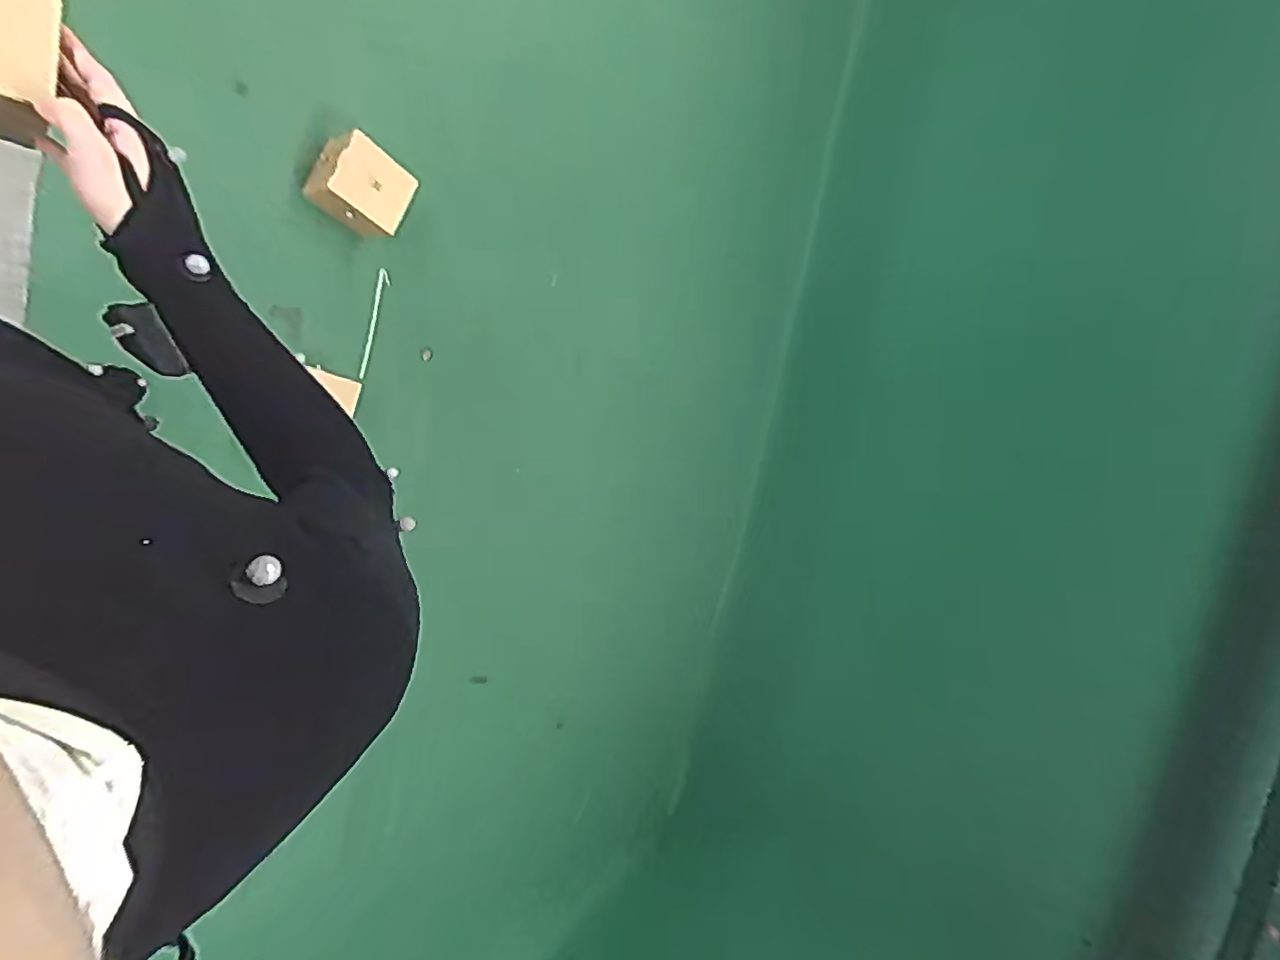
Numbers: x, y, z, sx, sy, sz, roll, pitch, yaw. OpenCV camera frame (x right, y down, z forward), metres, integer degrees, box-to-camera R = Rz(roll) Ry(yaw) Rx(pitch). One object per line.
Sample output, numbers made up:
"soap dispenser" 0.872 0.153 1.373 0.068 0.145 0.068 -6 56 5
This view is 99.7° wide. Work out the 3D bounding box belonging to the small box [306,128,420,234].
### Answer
"small box" -0.713 -0.758 1.390 0.179 0.176 0.168 31 79 -49
